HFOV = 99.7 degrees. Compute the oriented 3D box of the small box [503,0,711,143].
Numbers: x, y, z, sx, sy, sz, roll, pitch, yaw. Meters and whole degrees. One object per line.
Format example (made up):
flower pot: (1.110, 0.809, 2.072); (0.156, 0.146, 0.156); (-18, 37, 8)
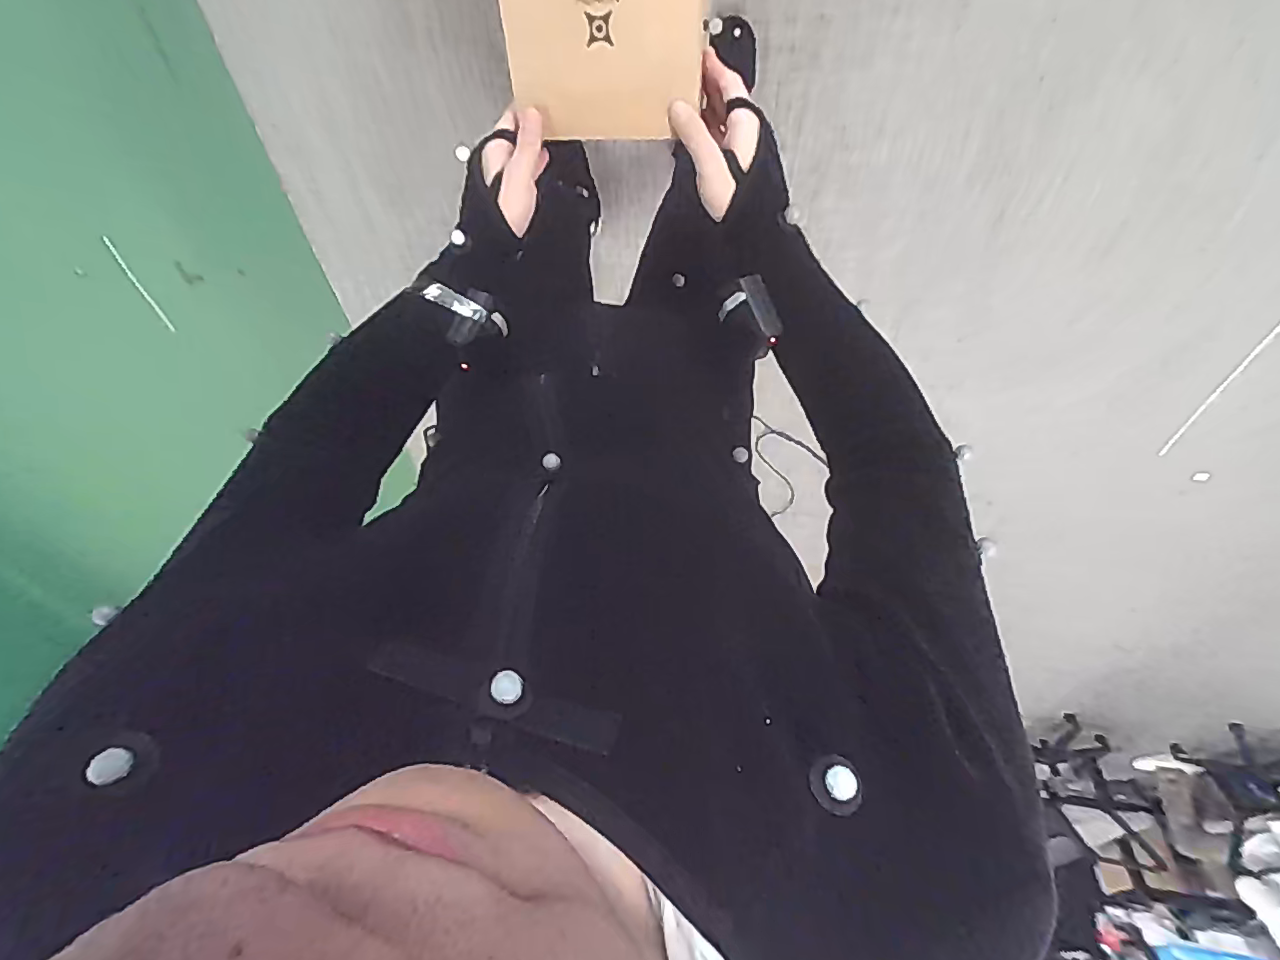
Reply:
small box: (-0.020, -0.430, 0.498); (0.168, 0.176, 0.179); (4, 132, 6)
